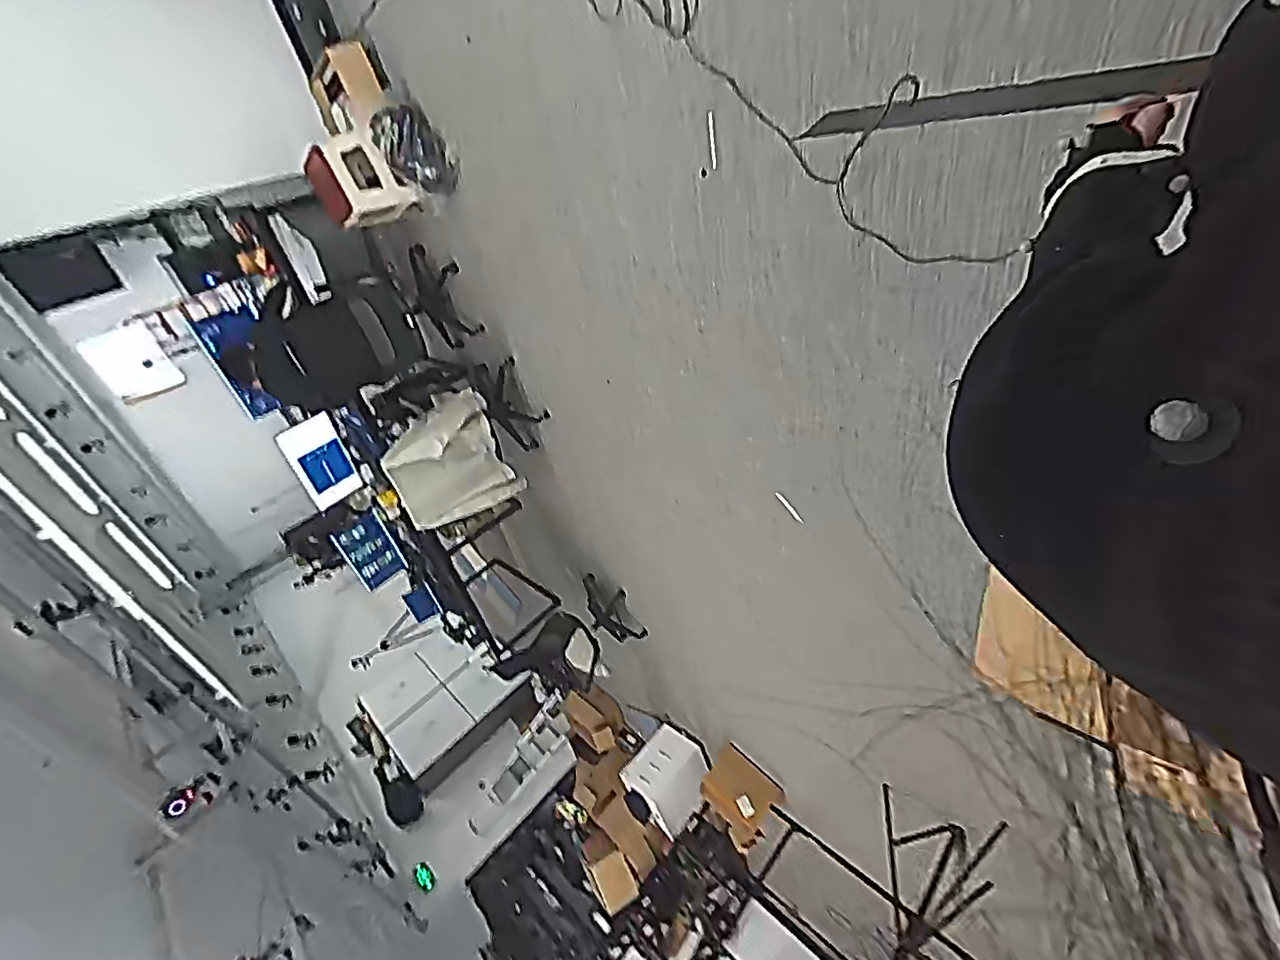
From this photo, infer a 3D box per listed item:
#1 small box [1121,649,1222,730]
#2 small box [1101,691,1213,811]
[{"bbox_3d":[1.416,0.589,1.448,0.168,0.176,0.179,19,136,43],"label":"small box"},{"bbox_3d":[1.304,0.677,1.366,0.168,0.176,0.179,17,136,44],"label":"small box"}]
